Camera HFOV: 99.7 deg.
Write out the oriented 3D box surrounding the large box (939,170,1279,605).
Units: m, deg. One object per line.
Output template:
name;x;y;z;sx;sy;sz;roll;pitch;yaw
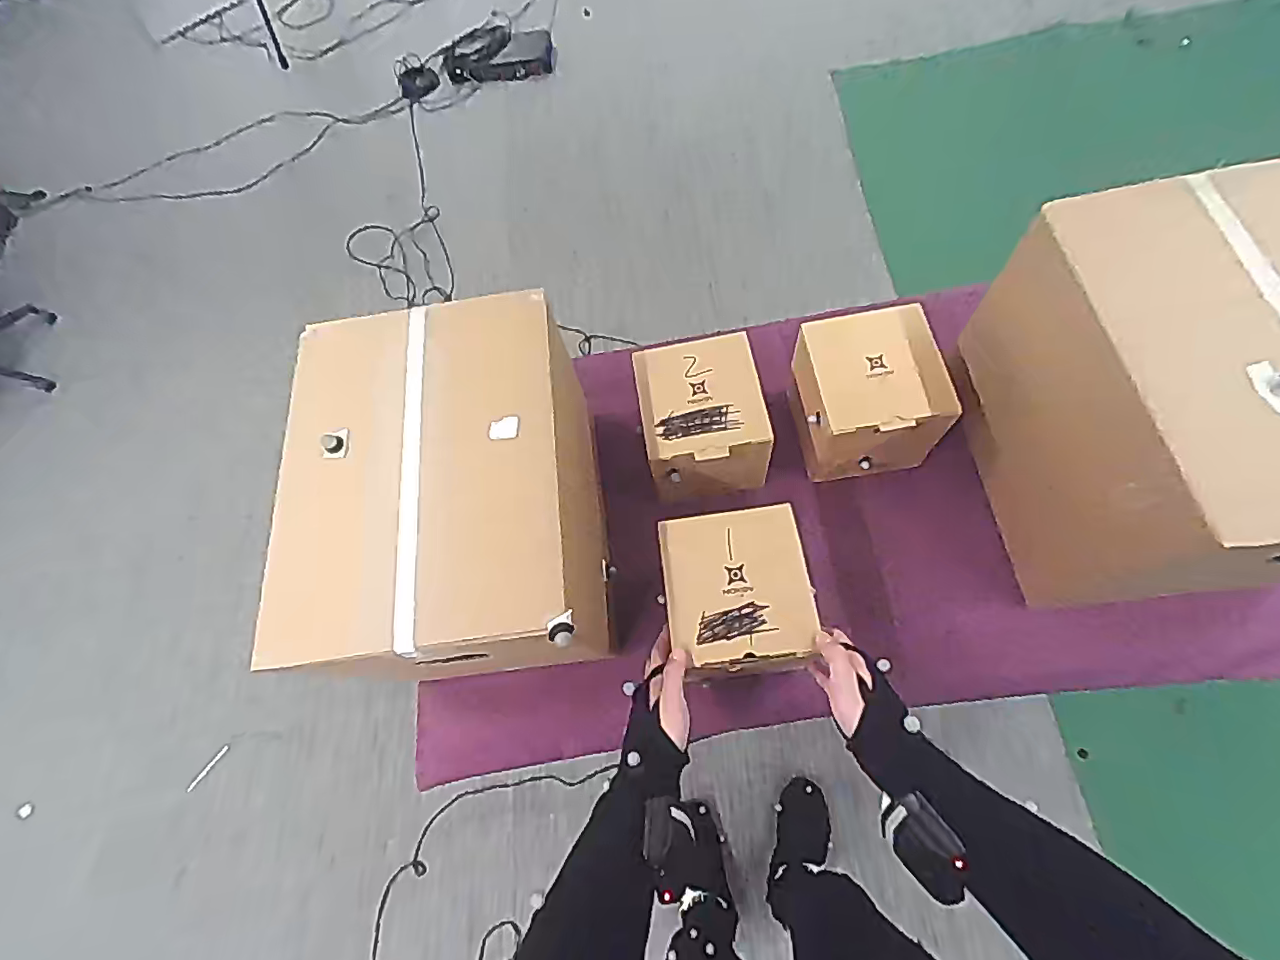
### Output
large box;0.634;-0.087;0.656;0.320;0.320;0.408;-9;67;5
